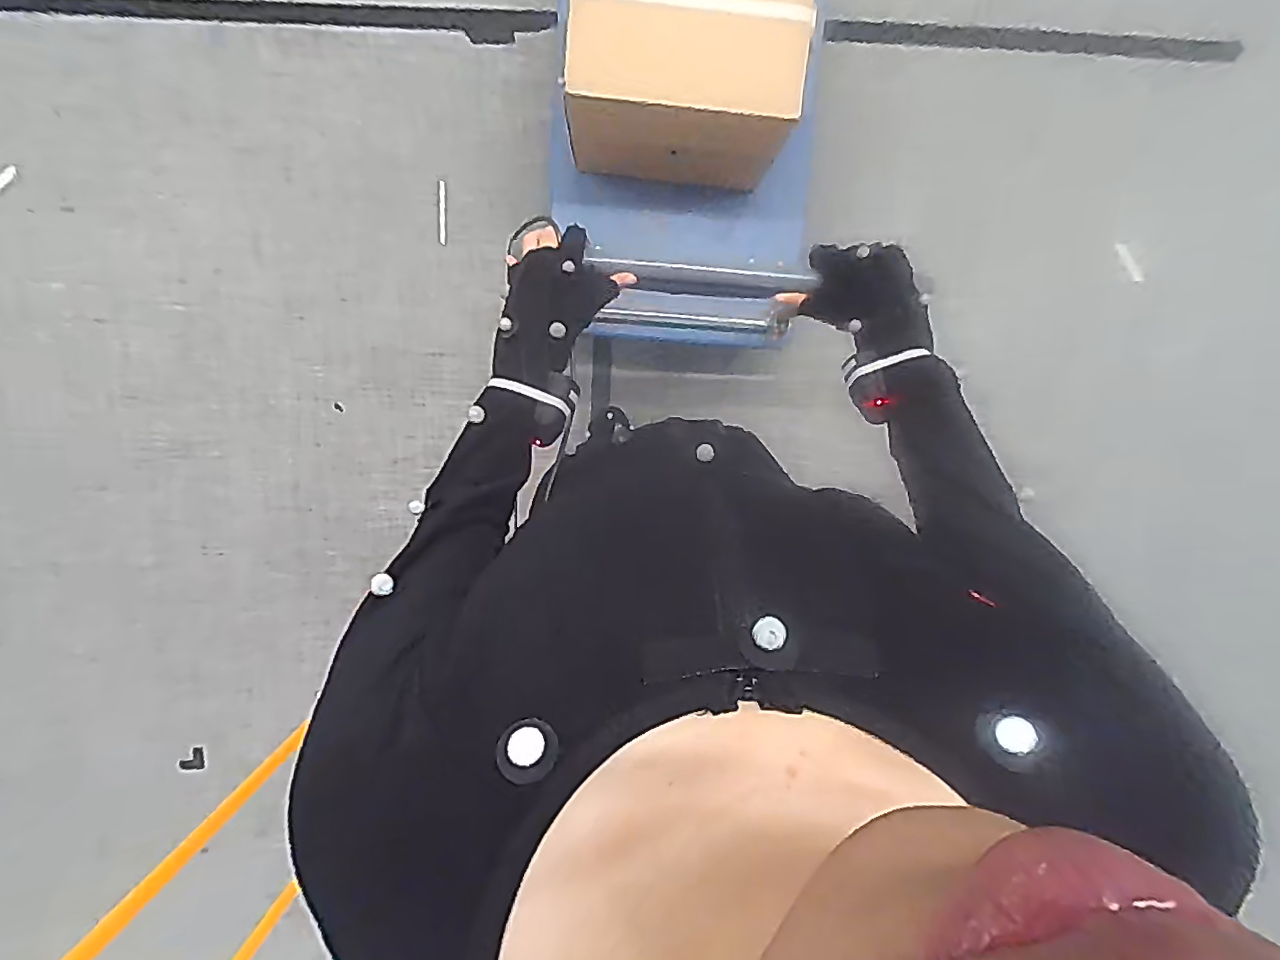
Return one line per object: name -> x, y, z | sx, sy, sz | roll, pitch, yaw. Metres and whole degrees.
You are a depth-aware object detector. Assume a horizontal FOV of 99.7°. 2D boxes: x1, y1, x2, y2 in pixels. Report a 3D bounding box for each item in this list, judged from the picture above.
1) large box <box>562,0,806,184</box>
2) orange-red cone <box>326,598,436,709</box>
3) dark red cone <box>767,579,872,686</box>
large box -> 0.074, -0.802, 1.042 | 0.408, 0.320, 0.320 | 4, 97, -2
orange-red cone -> -0.668, 0.453, 1.335 | 0.198, 0.360, 0.199 | 9, 96, -4
dark red cone -> 0.465, 0.400, 1.349 | 0.201, 0.394, 0.202 | 1, 98, -4
